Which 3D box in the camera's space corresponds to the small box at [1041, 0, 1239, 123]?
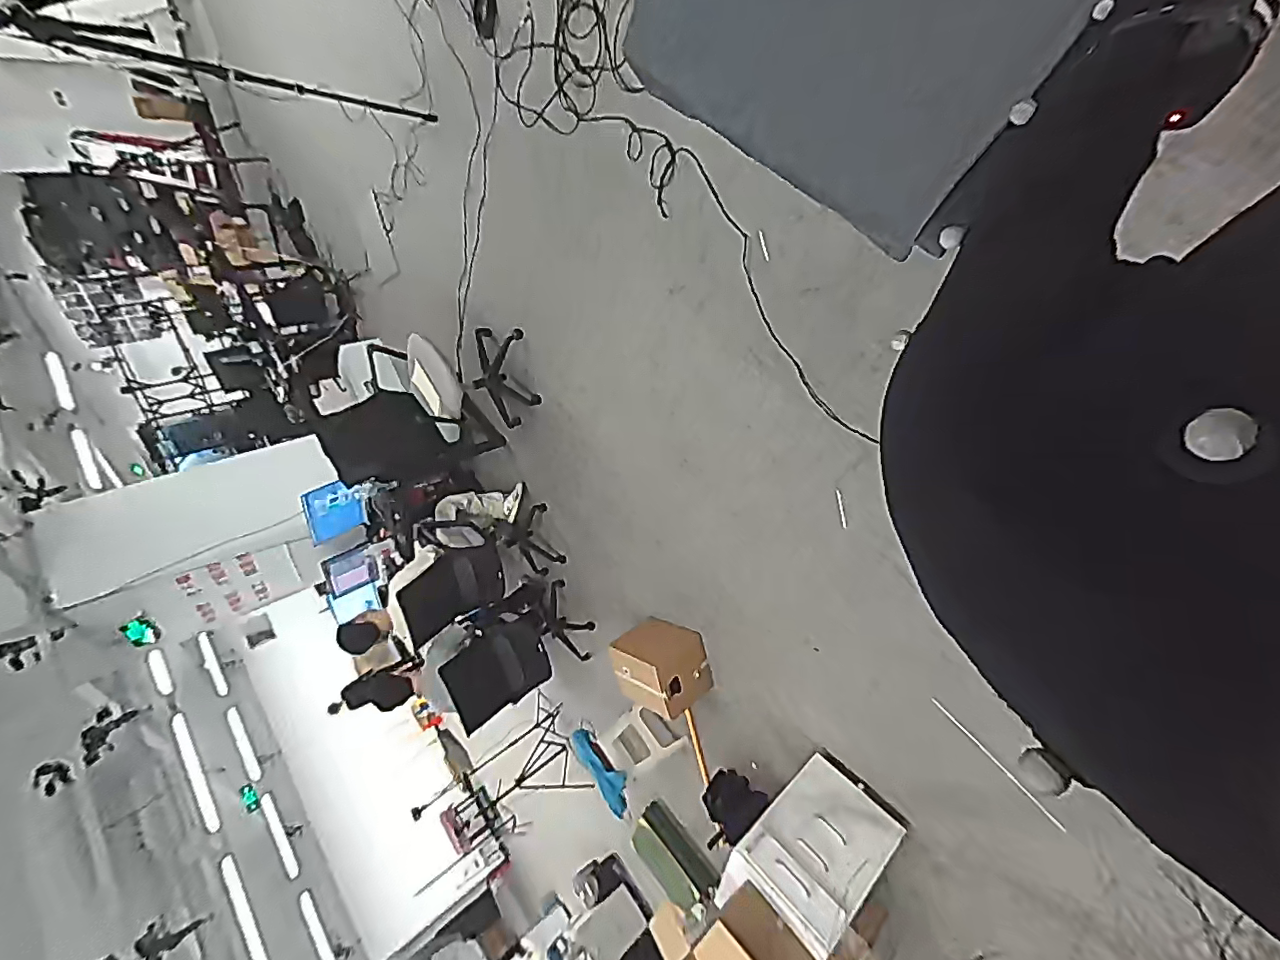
[{"bbox_3d":[0.848,-0.739,0.919,0.179,0.176,0.168,51,143,19],"label":"small box"}]
